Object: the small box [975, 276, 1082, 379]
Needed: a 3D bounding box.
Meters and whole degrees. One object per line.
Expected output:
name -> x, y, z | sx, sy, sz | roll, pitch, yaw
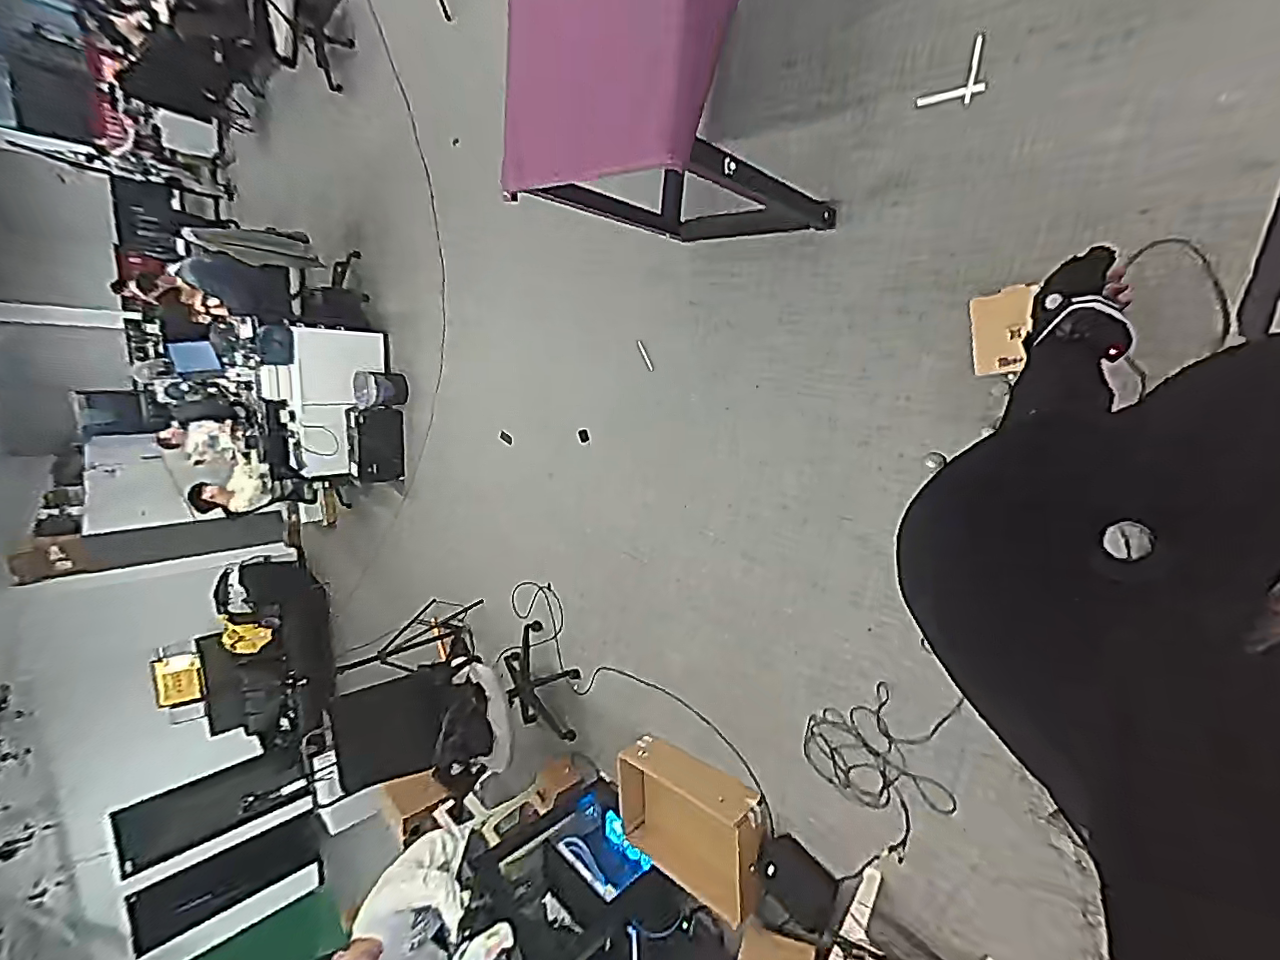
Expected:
small box -> 0.854, -0.324, 1.187 | 0.168, 0.176, 0.179 | -3, 93, 46
